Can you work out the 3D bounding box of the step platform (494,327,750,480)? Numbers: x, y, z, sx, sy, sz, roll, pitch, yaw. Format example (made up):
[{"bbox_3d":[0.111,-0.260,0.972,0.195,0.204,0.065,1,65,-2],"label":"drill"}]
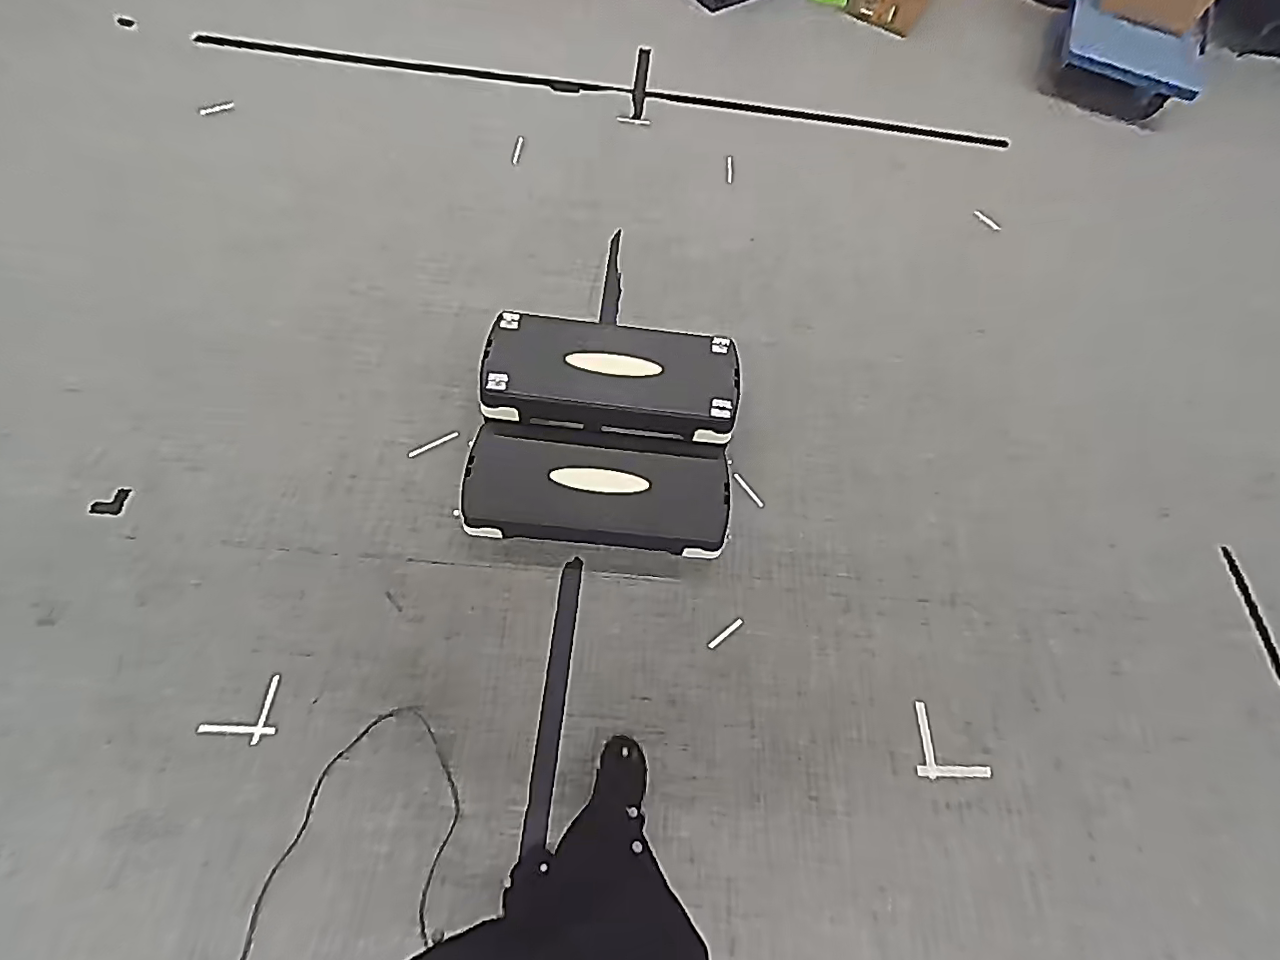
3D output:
[{"bbox_3d":[-0.045,-0.210,1.486,0.684,0.204,0.286,10,62,-1],"label":"step platform"}]
